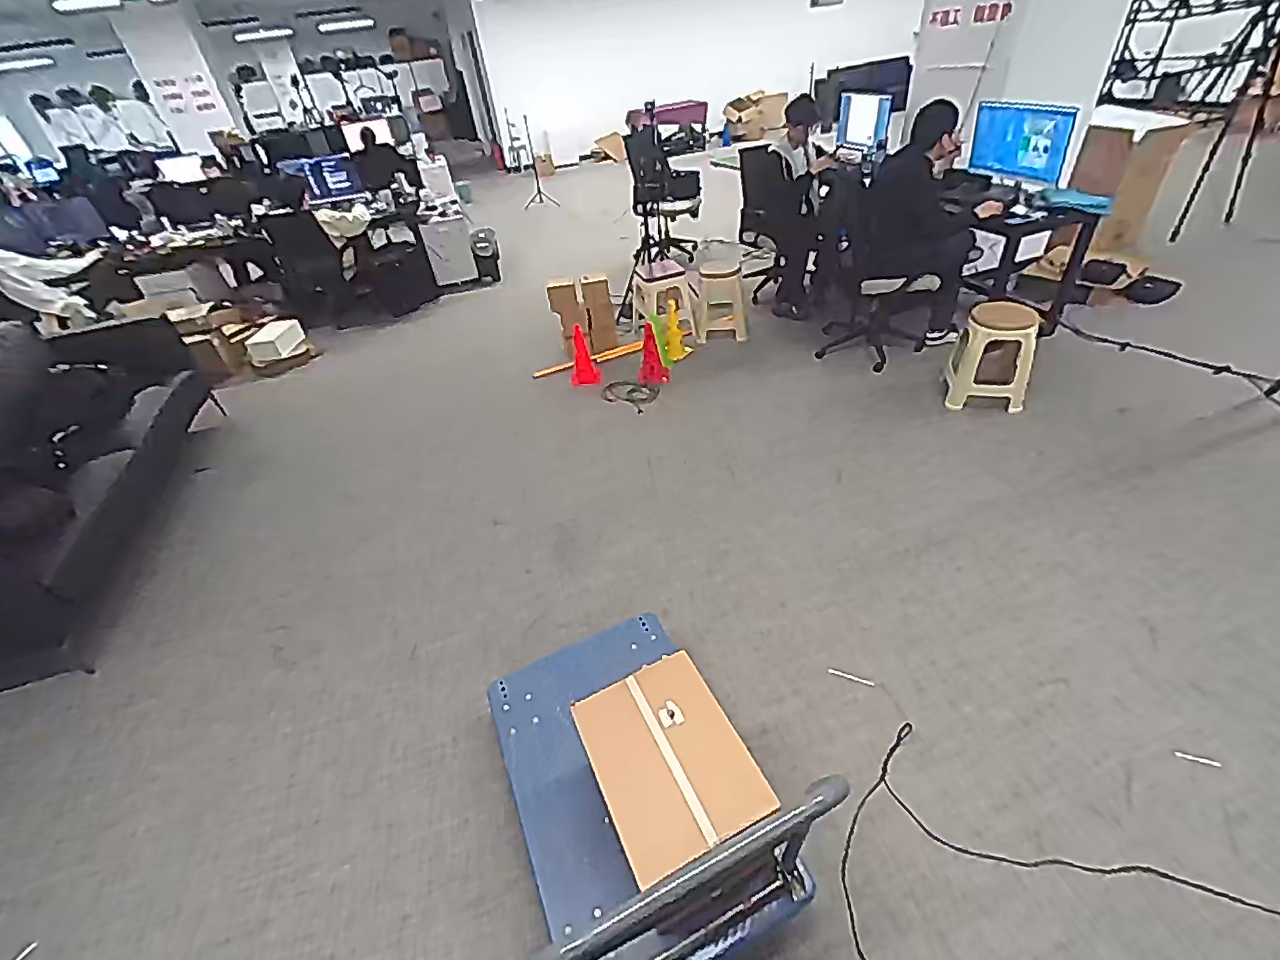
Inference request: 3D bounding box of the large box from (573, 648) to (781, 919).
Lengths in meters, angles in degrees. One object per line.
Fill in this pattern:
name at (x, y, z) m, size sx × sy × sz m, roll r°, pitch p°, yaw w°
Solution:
large box at (0.082, 0.695, 1.271) m, size 0.320 × 0.320 × 0.408 m, roll -21°, pitch 41°, yaw -16°
